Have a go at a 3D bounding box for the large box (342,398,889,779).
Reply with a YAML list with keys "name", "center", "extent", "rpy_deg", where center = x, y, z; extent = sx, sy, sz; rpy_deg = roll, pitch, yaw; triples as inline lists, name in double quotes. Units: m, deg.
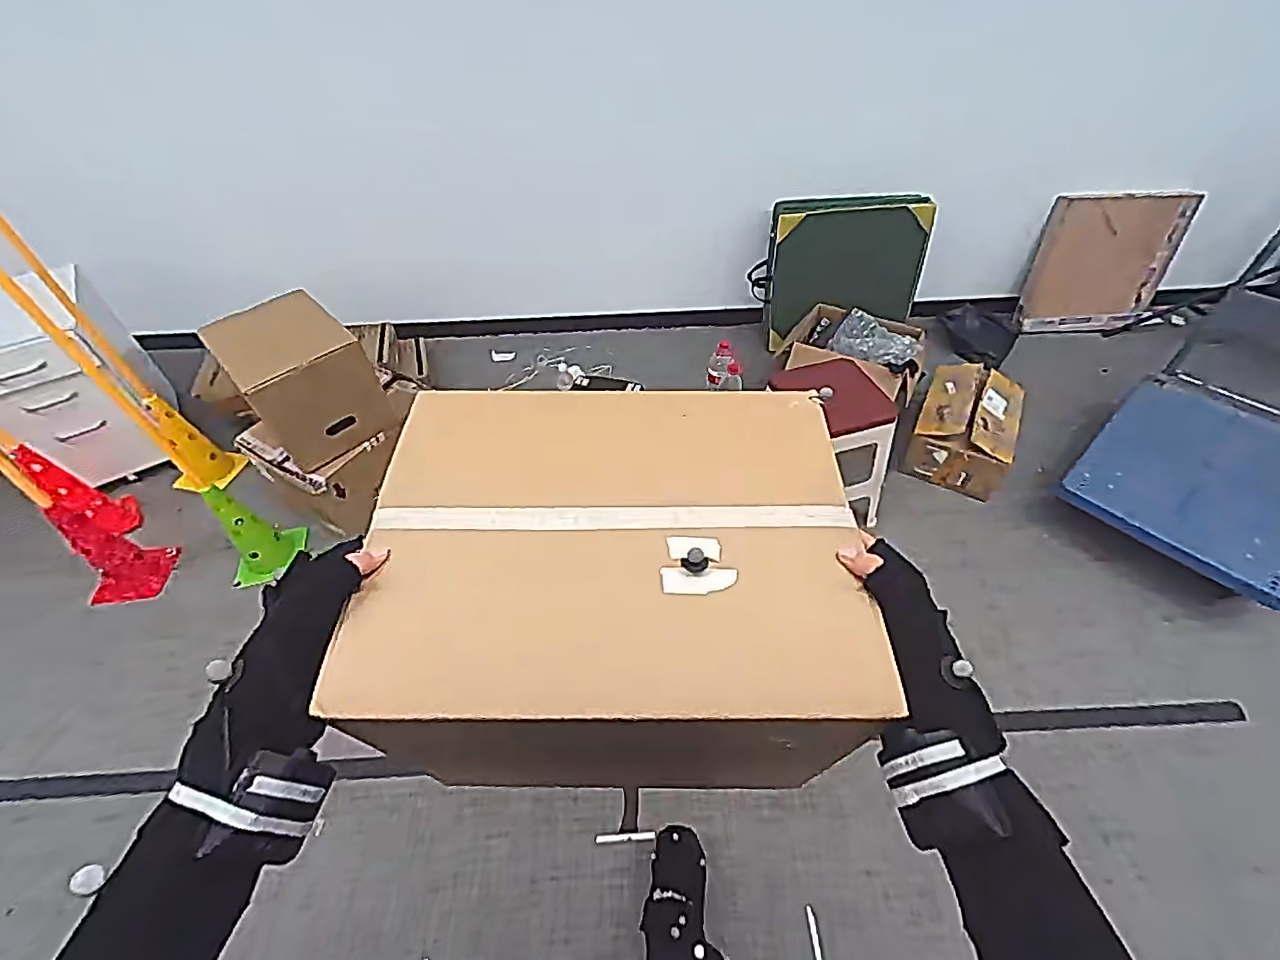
- name: "large box"
  center: [-0.020, 0.126, 0.593]
  extent: [0.408, 0.320, 0.320]
  rpy_deg: [0, 53, 0]
